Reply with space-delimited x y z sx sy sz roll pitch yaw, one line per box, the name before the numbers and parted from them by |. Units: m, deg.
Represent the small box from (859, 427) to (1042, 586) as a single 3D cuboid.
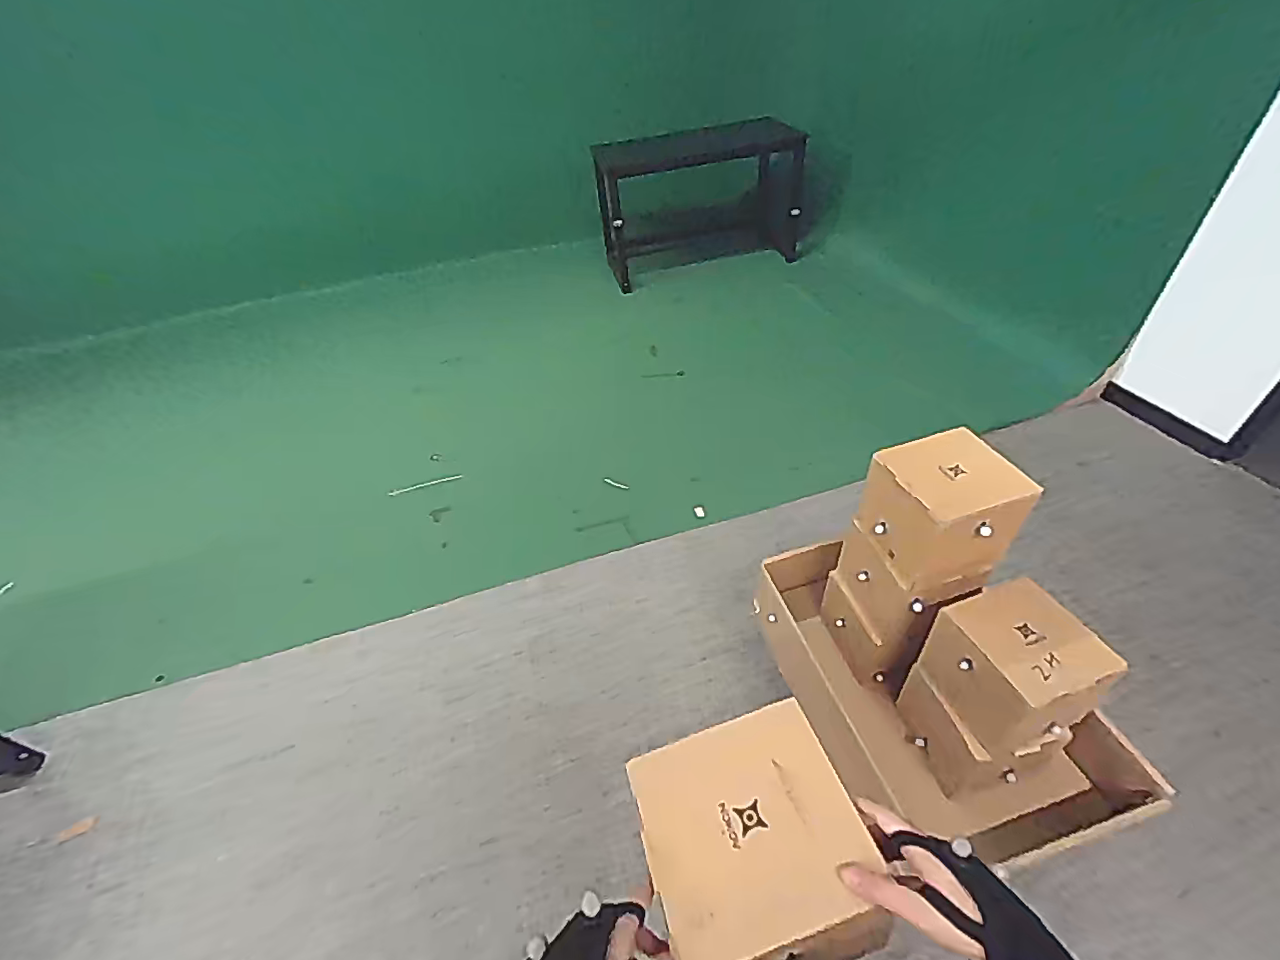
small box | 0.488 0.044 0.881 0.179 0.176 0.168 -16 44 -8
